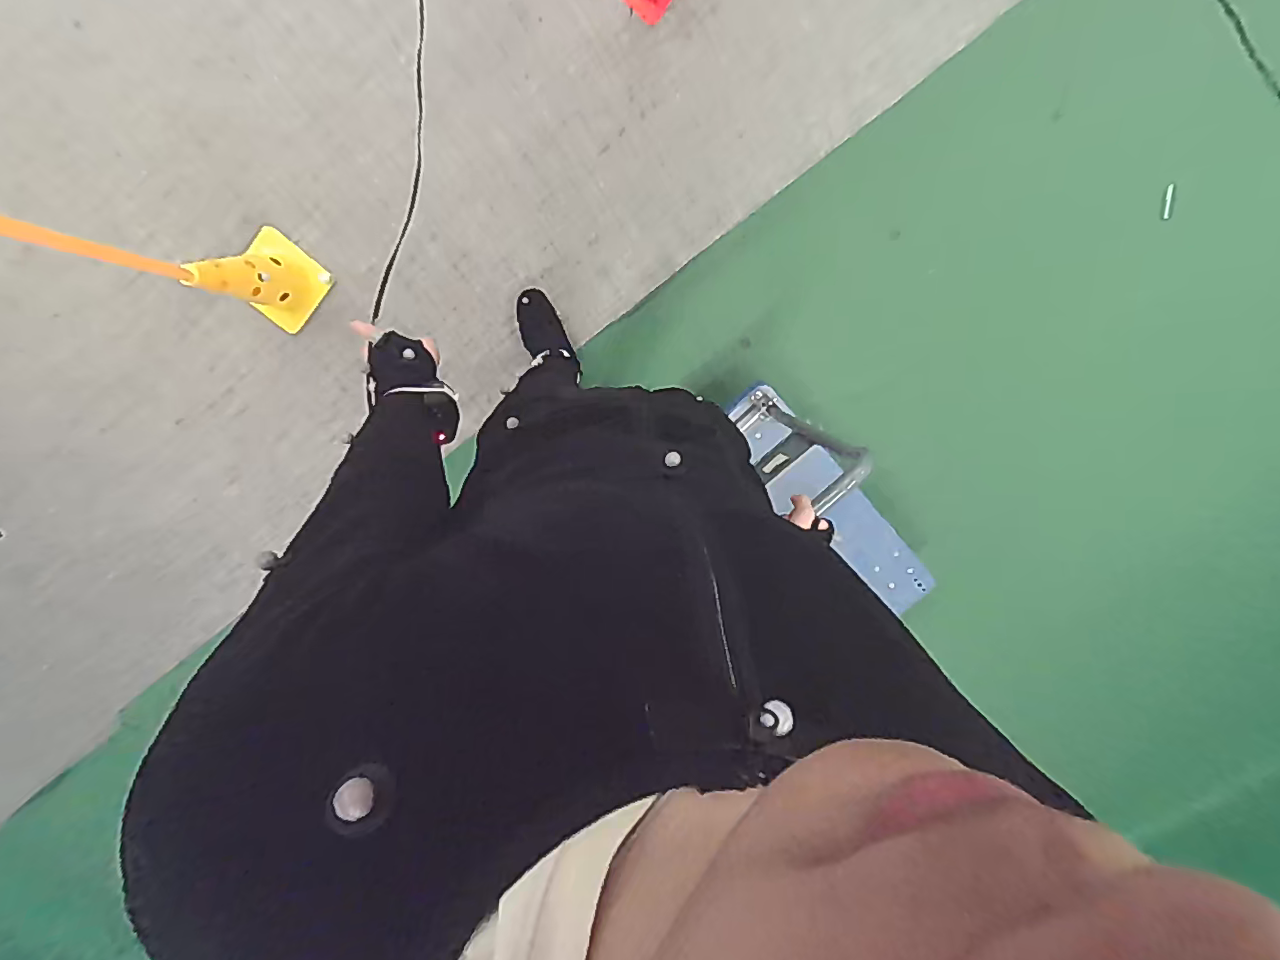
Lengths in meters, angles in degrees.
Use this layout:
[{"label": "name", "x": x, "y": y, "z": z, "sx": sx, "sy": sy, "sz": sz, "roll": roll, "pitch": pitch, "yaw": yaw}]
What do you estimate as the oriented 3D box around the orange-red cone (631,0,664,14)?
[{"label": "orange-red cone", "x": 0.027, "y": -1.166, "z": 1.076, "sx": 0.198, "sy": 0.360, "sz": 0.199, "roll": 36, "pitch": 101, "yaw": -16}]
